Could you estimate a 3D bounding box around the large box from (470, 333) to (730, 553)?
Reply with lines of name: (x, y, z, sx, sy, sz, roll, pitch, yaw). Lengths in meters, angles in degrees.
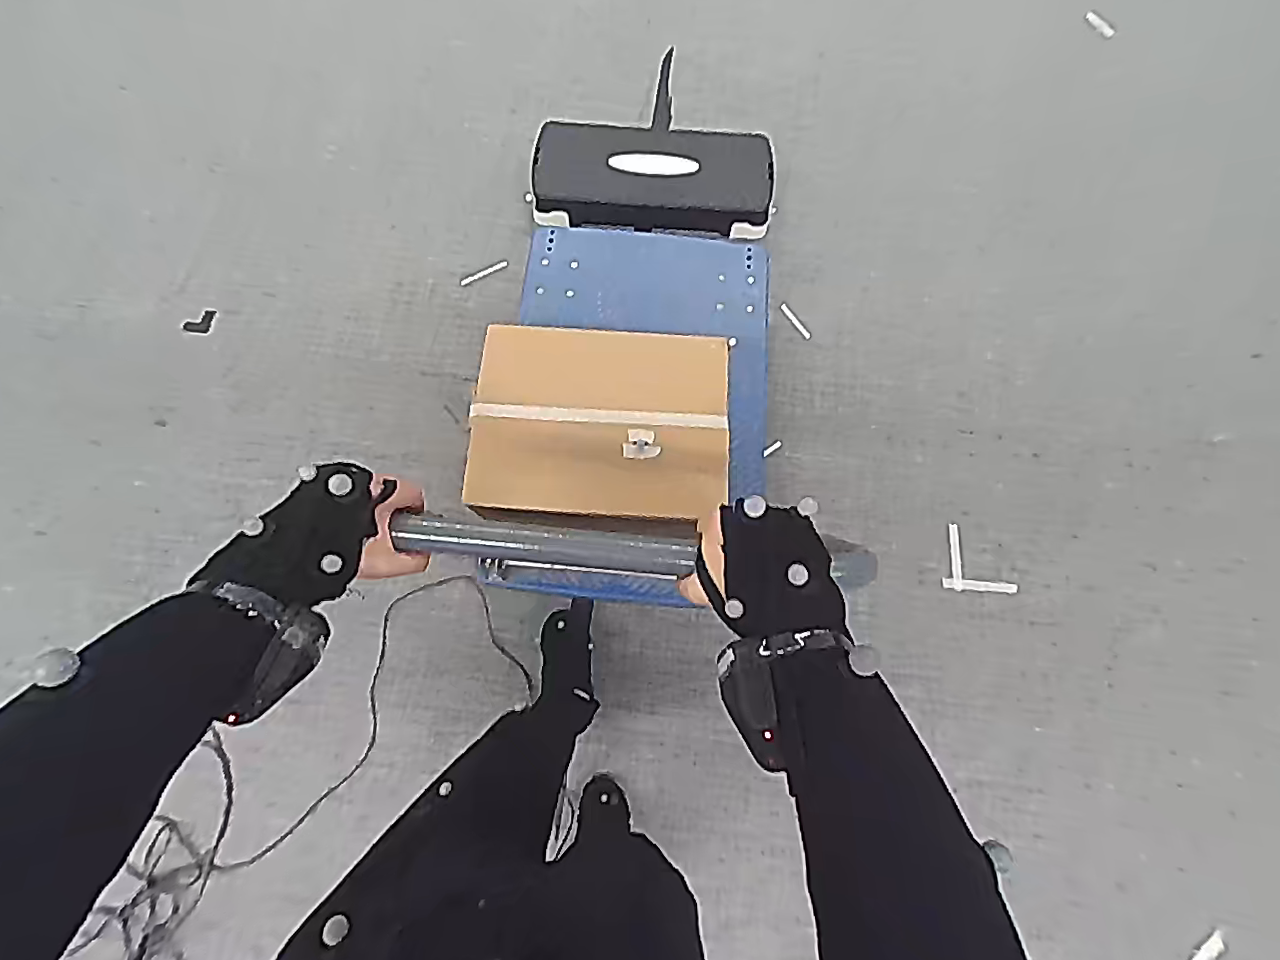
large box: (-0.061, -0.048, 1.006, 0.408, 0.320, 0.320, 4, 74, -1)
